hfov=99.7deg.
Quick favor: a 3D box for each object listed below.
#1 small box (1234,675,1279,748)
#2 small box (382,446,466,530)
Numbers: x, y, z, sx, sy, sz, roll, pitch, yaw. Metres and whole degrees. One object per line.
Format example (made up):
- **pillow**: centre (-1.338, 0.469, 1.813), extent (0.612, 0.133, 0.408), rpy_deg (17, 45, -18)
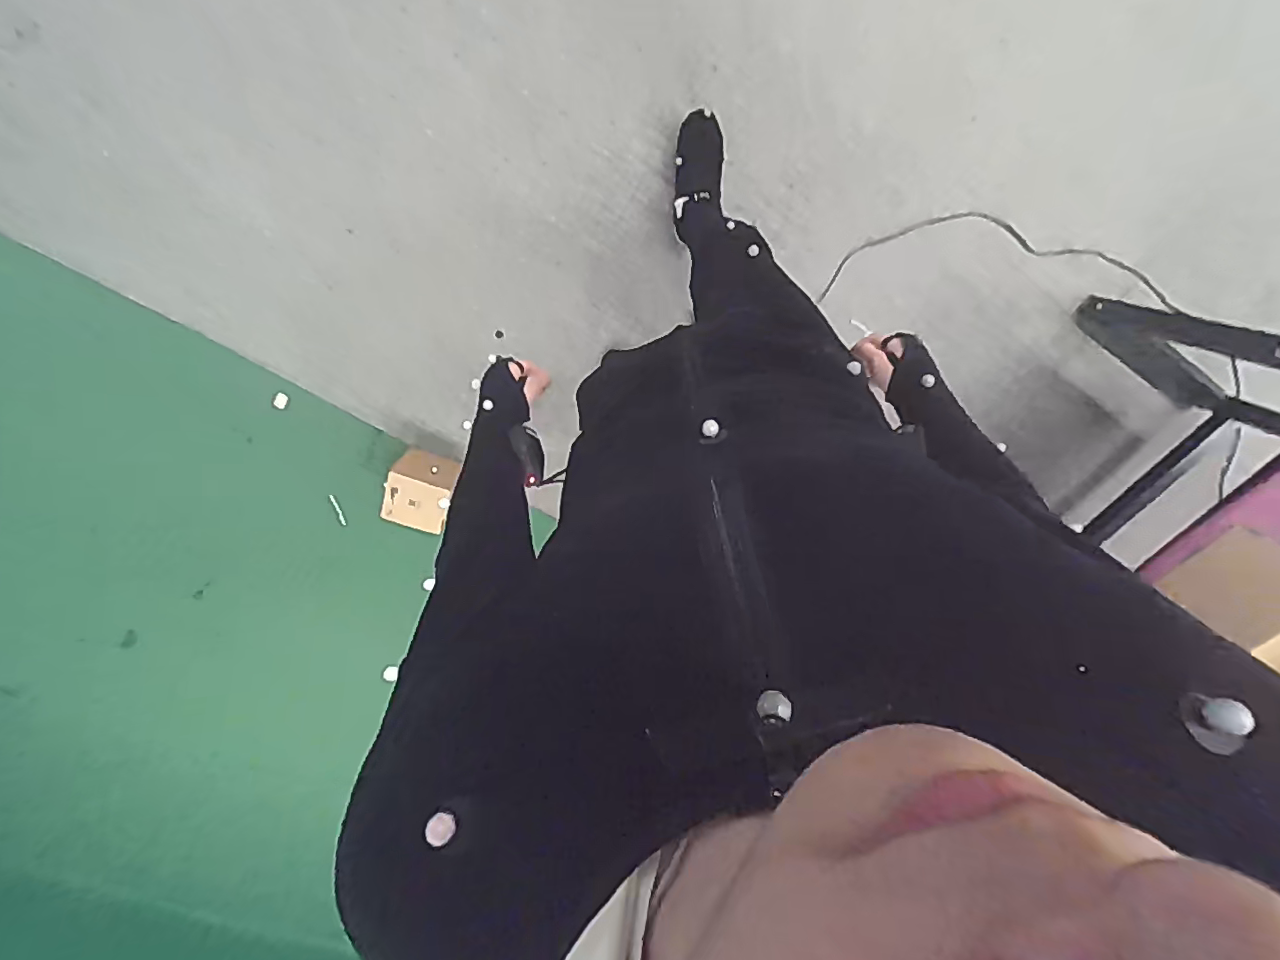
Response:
- **small box**: centre (1.323, 0.478, 1.024), extent (0.179, 0.176, 0.168), rpy_deg (29, 114, -13)
- **small box**: centre (-0.639, 0.019, 1.617), extent (0.179, 0.176, 0.168), rpy_deg (19, 116, -11)
